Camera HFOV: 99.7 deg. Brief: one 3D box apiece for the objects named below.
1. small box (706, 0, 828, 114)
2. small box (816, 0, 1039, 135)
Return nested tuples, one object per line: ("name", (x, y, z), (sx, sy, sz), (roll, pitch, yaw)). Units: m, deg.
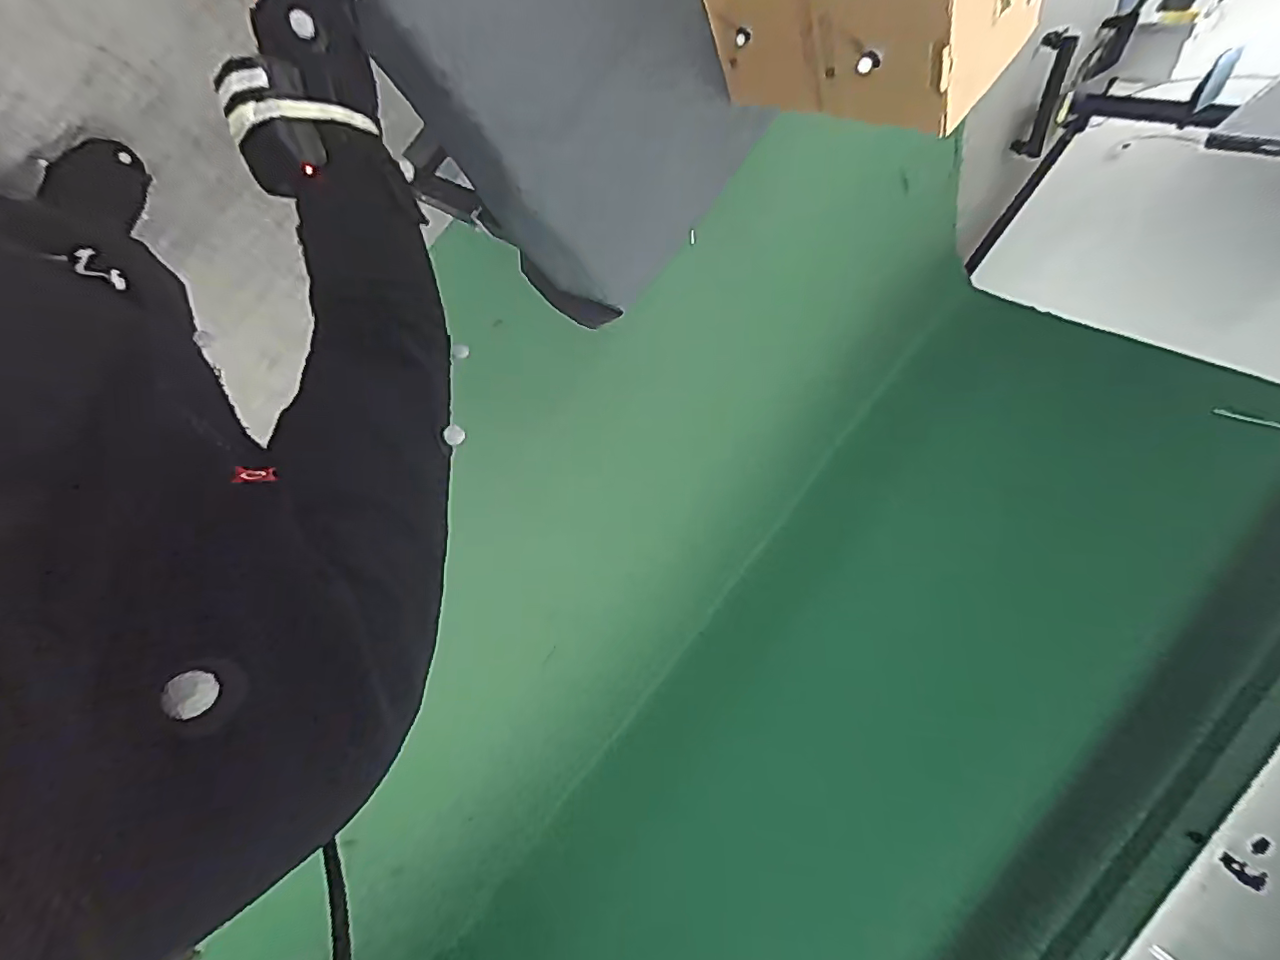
("small box", (0.210, -0.619, 0.692), (0.179, 0.176, 0.168), (-50, 147, -2))
("small box", (0.314, -0.531, 0.600), (0.179, 0.176, 0.168), (-49, 147, -2))
